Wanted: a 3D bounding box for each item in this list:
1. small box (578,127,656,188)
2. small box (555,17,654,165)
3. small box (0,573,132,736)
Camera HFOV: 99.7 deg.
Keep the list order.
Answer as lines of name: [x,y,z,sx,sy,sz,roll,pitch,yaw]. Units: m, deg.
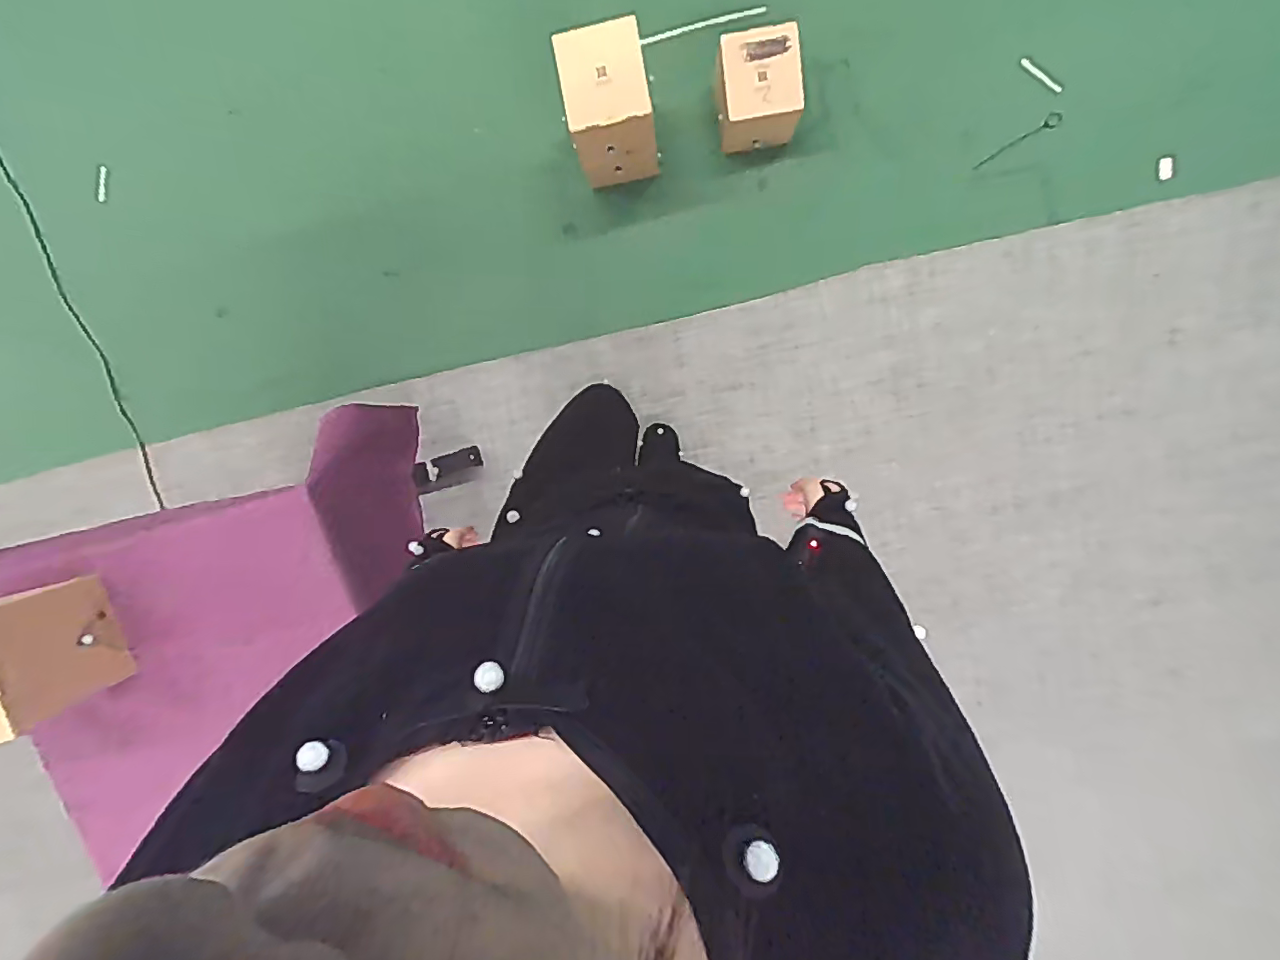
small box: [-0.058,-0.819,1.277,0.179,0.176,0.168,-10,98,6]
small box: [-0.066,-0.790,1.117,0.168,0.176,0.179,-10,99,5]
small box: [-0.887,0.246,0.754,0.179,0.176,0.168,-13,99,2]
